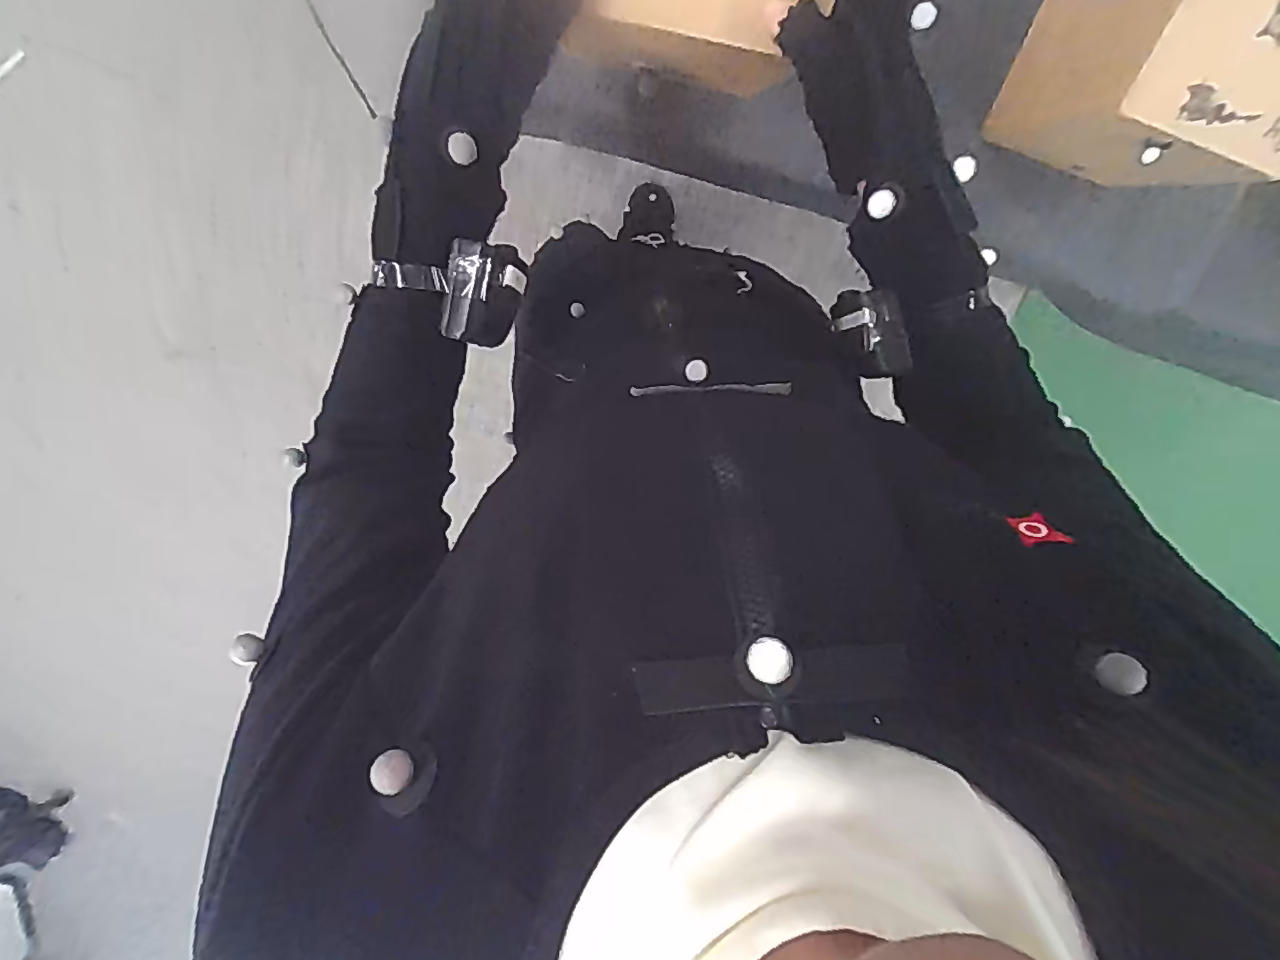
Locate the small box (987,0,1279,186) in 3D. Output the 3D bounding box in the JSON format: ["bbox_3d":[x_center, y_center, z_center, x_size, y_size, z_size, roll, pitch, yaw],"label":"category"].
[{"bbox_3d":[0.442,-0.366,0.451,0.168,0.176,0.179,13,115,-10],"label":"small box"}]

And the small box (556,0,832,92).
[{"bbox_3d":[0.036,-0.372,0.333,0.168,0.176,0.179,9,118,-8],"label":"small box"}]
